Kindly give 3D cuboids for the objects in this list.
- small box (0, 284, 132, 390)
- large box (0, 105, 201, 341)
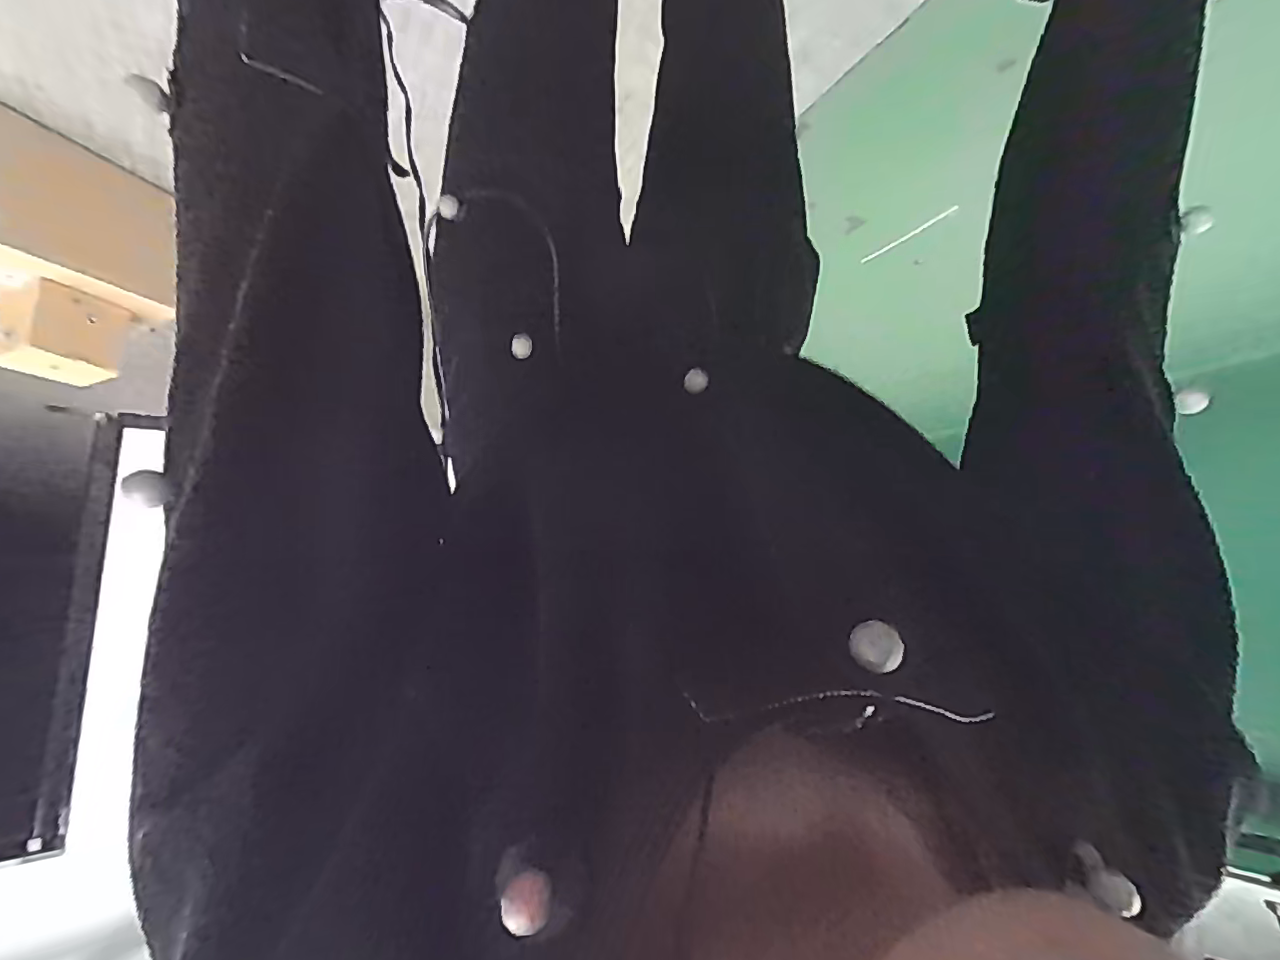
[{"bbox_3d":[-1.344,-0.330,1.268,0.179,0.176,0.168,-7,167,21],"label":"small box"},{"bbox_3d":[-1.367,-0.576,1.278,0.320,0.320,0.408,-9,165,25],"label":"large box"}]
